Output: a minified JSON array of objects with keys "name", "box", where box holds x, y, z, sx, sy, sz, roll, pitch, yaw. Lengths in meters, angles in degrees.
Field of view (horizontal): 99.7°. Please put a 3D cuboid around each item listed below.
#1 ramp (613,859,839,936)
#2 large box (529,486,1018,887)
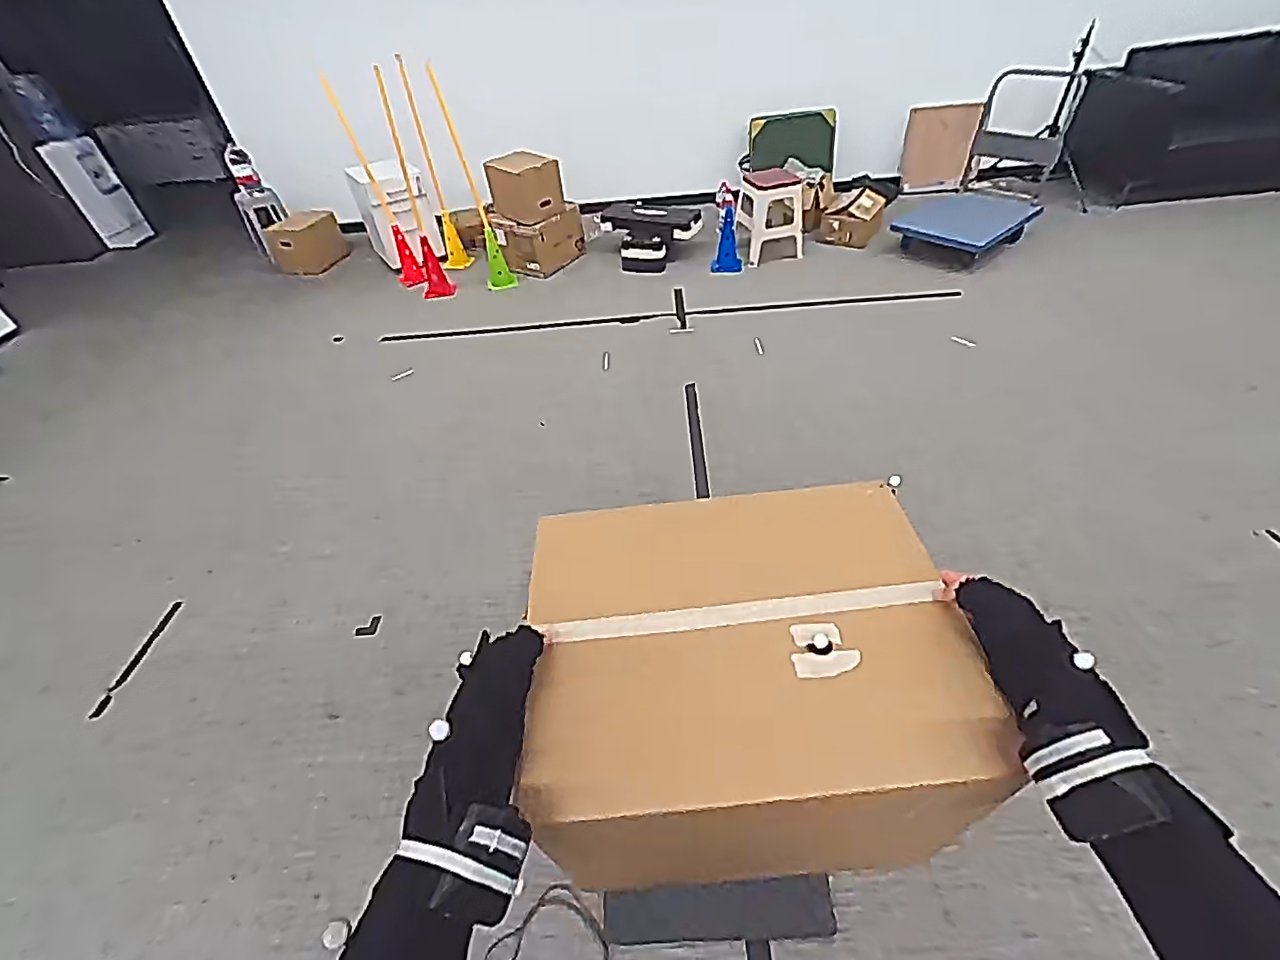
[{"name":"ramp","box":[0.165,0.557,1.442,0.509,0.206,0.991,-5,44,0]},{"name":"large box","box":[0.107,0.242,0.637,0.408,0.320,0.320,-7,45,1]}]
